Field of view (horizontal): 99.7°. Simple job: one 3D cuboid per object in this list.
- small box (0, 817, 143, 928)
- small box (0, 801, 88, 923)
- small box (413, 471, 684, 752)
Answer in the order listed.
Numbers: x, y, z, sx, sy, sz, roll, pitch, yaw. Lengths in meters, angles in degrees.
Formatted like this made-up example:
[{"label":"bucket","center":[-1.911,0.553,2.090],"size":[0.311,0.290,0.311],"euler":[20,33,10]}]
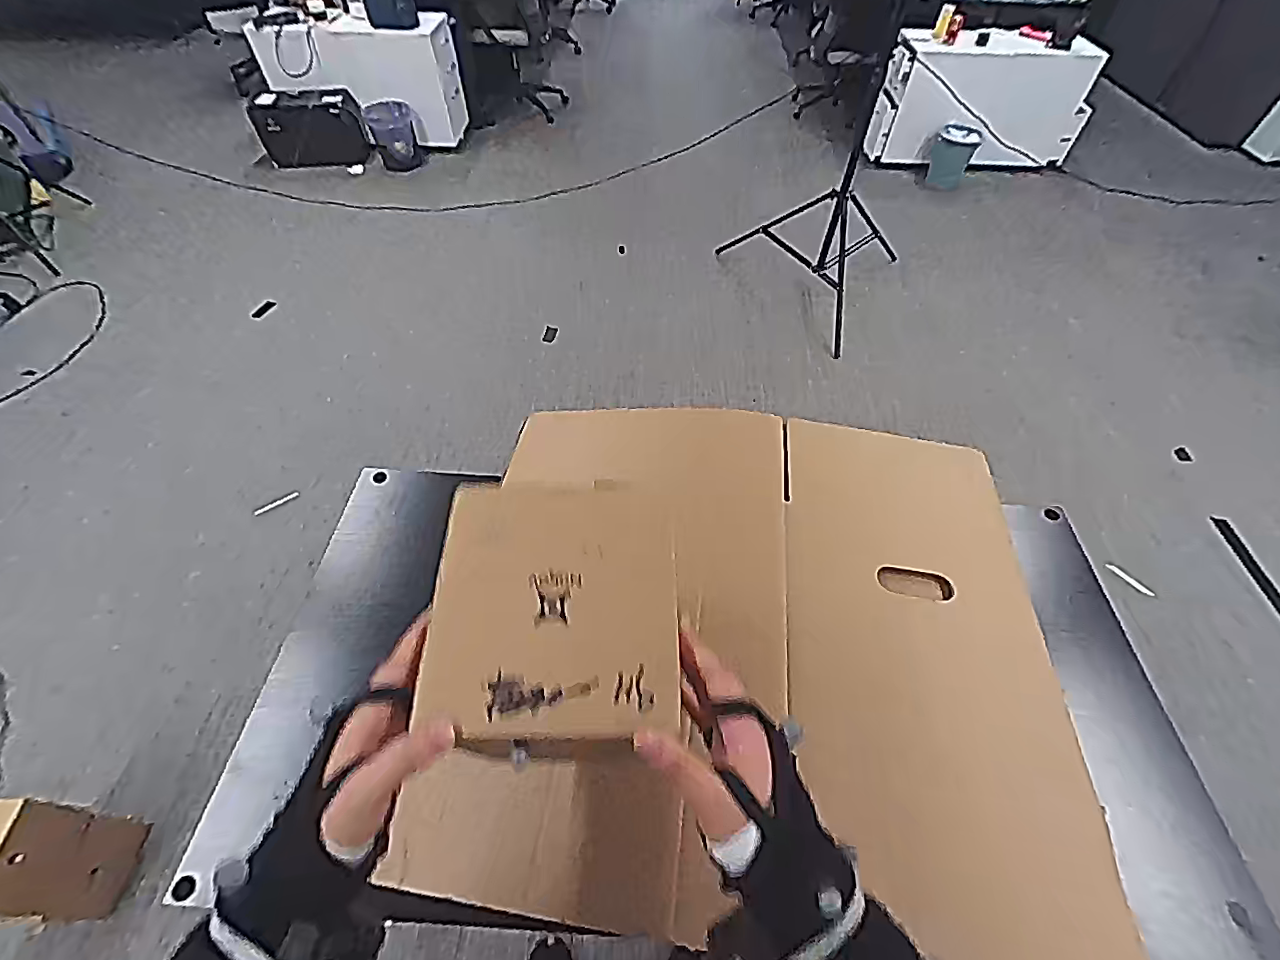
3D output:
[{"label":"small box","center":[-1.193,0.808,1.113],"size":[0.168,0.176,0.179],"euler":[0,53,-1]},{"label":"small box","center":[-1.191,0.704,0.988],"size":[0.168,0.176,0.179],"euler":[-2,51,-4]},{"label":"small box","center":[-0.052,0.110,0.432],"size":[0.168,0.176,0.179],"euler":[-1,58,2]}]
